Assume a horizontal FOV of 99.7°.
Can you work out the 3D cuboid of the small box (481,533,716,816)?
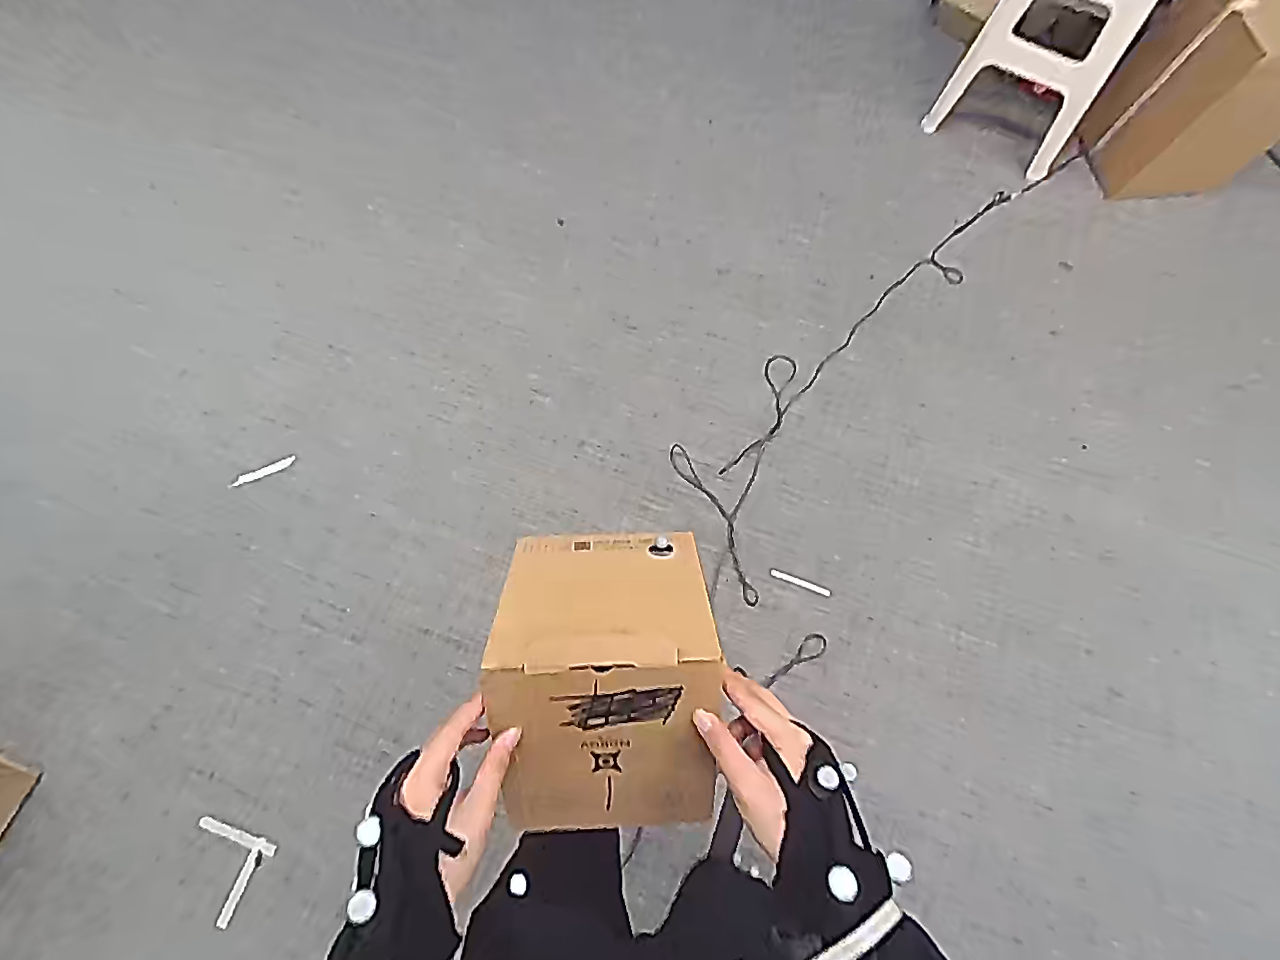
[{"bbox_3d":[-0.033,0.157,0.476,0.168,0.176,0.179,-1,116,-2],"label":"small box"}]
